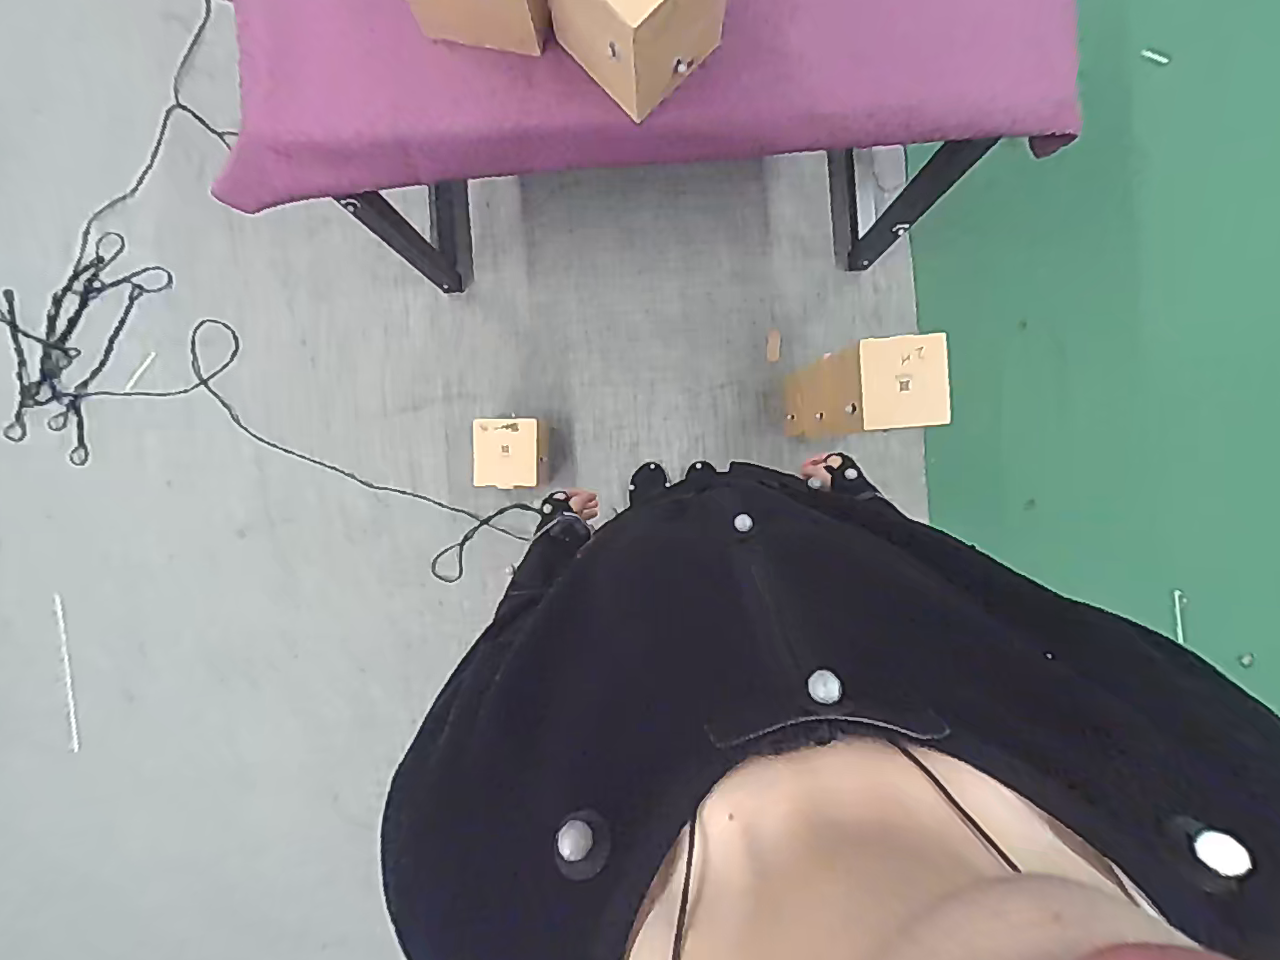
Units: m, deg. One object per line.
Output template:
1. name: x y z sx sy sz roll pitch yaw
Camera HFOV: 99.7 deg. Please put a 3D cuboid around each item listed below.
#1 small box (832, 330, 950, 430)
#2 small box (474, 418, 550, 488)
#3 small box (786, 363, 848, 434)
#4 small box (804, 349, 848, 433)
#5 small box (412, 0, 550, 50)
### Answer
1. small box: 0.500 -0.193 1.095 0.168 0.176 0.179 -5 92 1
2. small box: -0.337 -0.072 1.446 0.168 0.176 0.179 0 92 1
3. small box: 0.488 -0.212 1.421 0.179 0.176 0.168 -2 91 1
4. small box: 0.489 -0.207 1.260 0.168 0.176 0.179 -5 92 1
5. small box: -0.217 -0.712 0.706 0.179 0.176 0.168 9 91 1
